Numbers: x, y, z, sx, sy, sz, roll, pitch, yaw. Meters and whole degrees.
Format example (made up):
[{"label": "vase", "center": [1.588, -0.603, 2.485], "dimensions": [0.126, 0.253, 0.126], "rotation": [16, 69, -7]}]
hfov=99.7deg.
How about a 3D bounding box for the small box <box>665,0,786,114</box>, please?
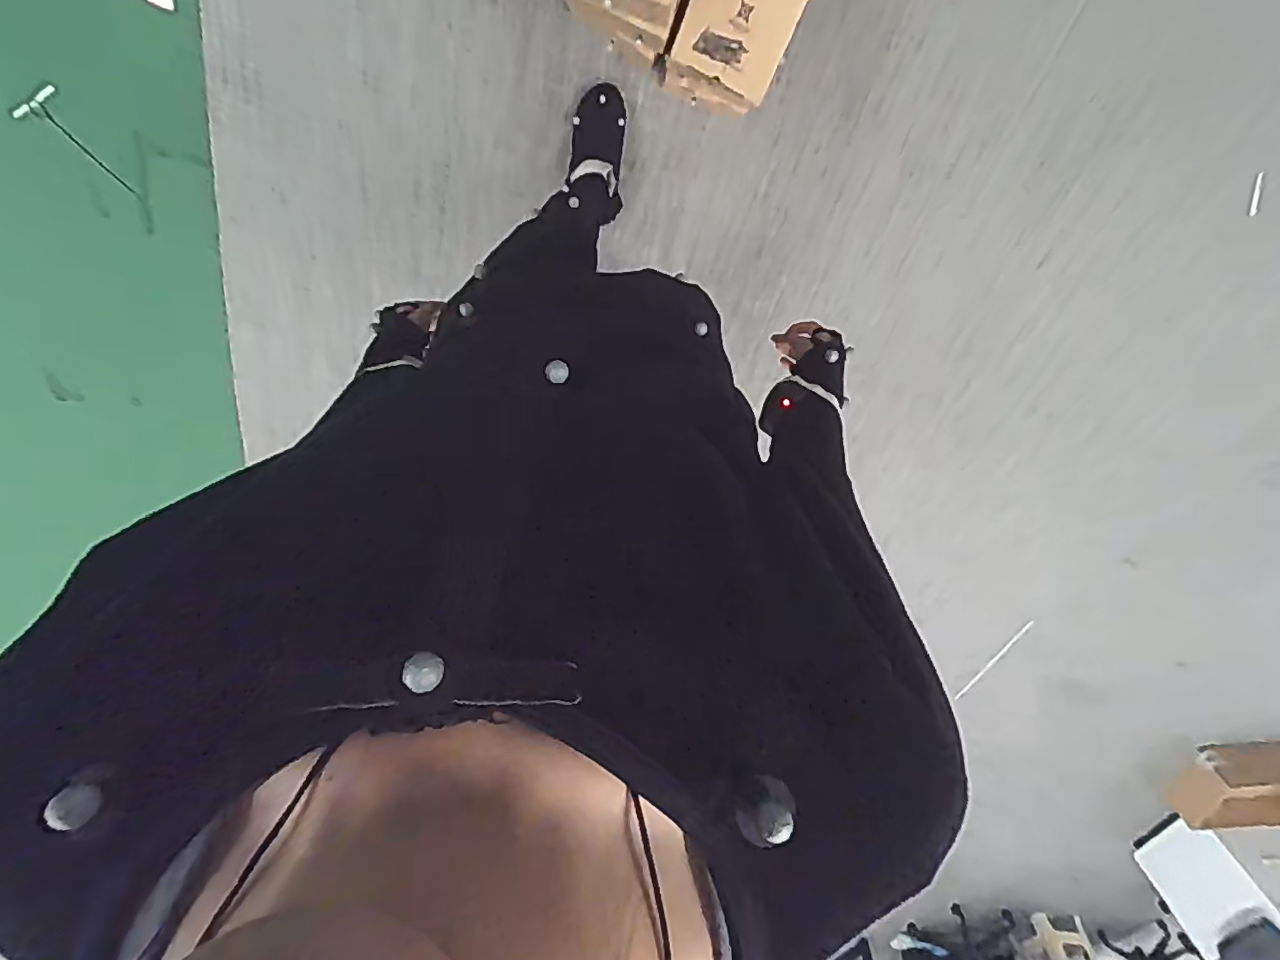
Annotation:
[{"label": "small box", "center": [0.150, -0.829, 1.034], "dimensions": [0.168, 0.176, 0.179], "rotation": [15, 123, -10]}]
